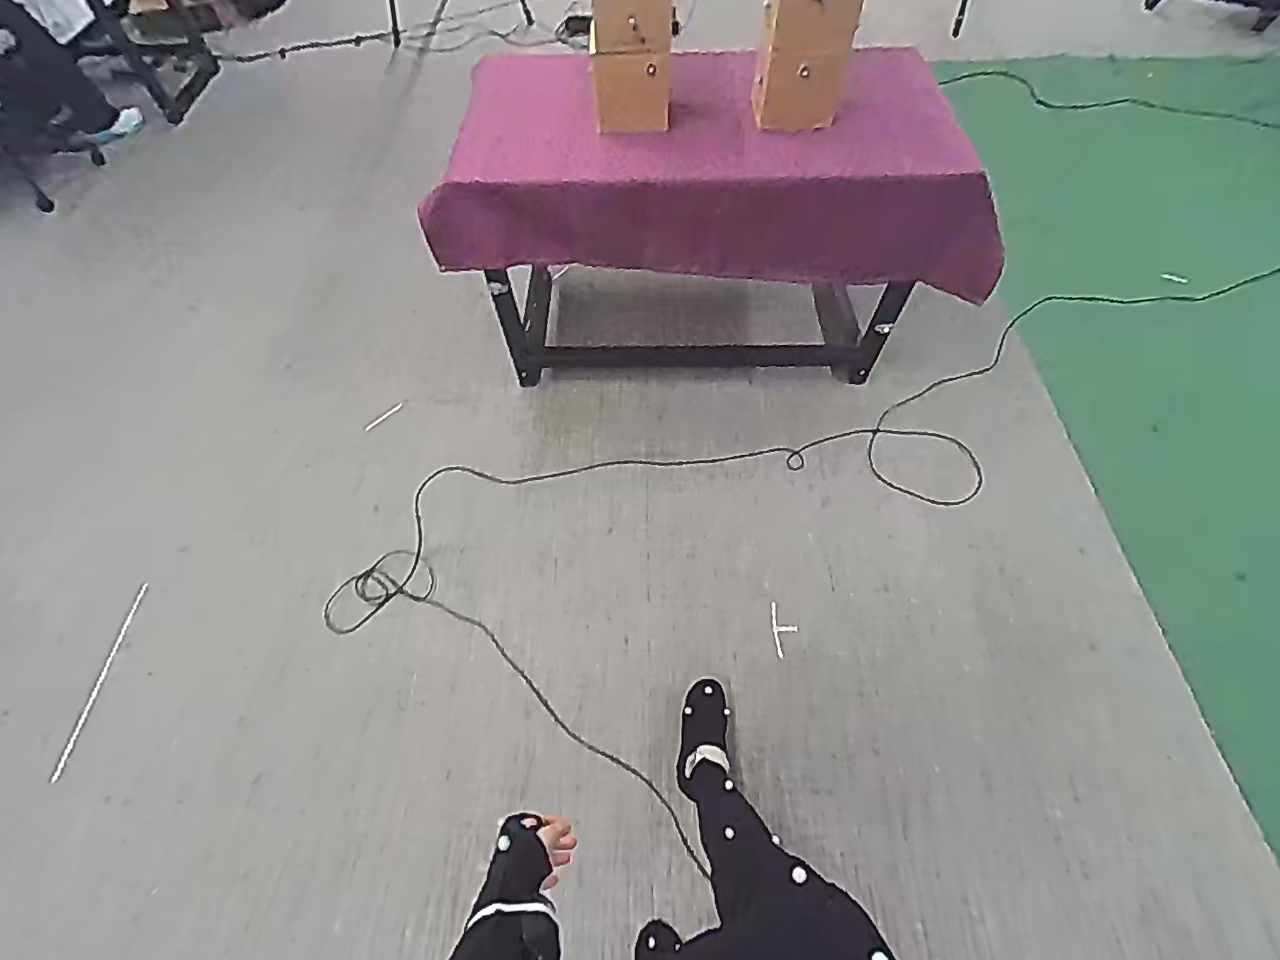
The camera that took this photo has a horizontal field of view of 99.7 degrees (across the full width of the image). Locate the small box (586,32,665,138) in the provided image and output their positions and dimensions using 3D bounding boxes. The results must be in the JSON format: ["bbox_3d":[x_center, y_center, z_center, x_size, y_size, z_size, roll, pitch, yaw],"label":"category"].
[{"bbox_3d":[-0.031,-0.944,1.290,0.179,0.176,0.168,-2,59,0],"label":"small box"}]

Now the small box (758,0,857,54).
[{"bbox_3d":[0.355,-1.031,1.137,0.179,0.176,0.168,-2,60,2],"label":"small box"}]

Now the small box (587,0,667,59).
[{"bbox_3d":[-0.028,-1.032,1.151,0.168,0.176,0.179,-2,59,0],"label":"small box"}]

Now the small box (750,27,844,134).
[{"bbox_3d":[0.360,-0.946,1.278,0.179,0.176,0.168,0,60,1],"label":"small box"}]
